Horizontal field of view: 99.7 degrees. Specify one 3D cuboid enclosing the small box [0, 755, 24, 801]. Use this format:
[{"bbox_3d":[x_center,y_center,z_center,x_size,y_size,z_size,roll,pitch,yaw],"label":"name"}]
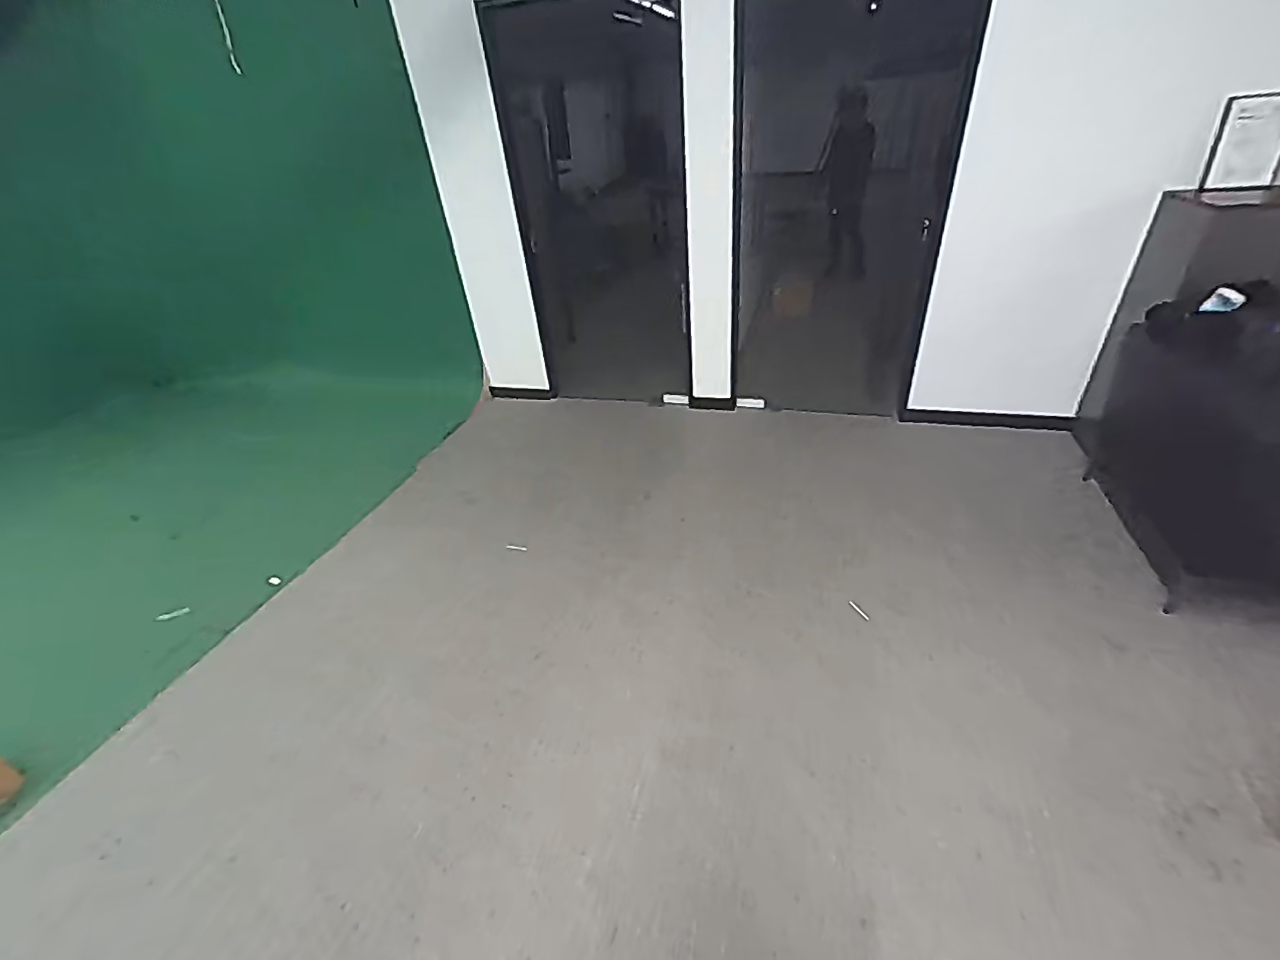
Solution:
[{"bbox_3d":[-1.974,0.881,1.555,0.179,0.176,0.168,0,34,9],"label":"small box"}]
